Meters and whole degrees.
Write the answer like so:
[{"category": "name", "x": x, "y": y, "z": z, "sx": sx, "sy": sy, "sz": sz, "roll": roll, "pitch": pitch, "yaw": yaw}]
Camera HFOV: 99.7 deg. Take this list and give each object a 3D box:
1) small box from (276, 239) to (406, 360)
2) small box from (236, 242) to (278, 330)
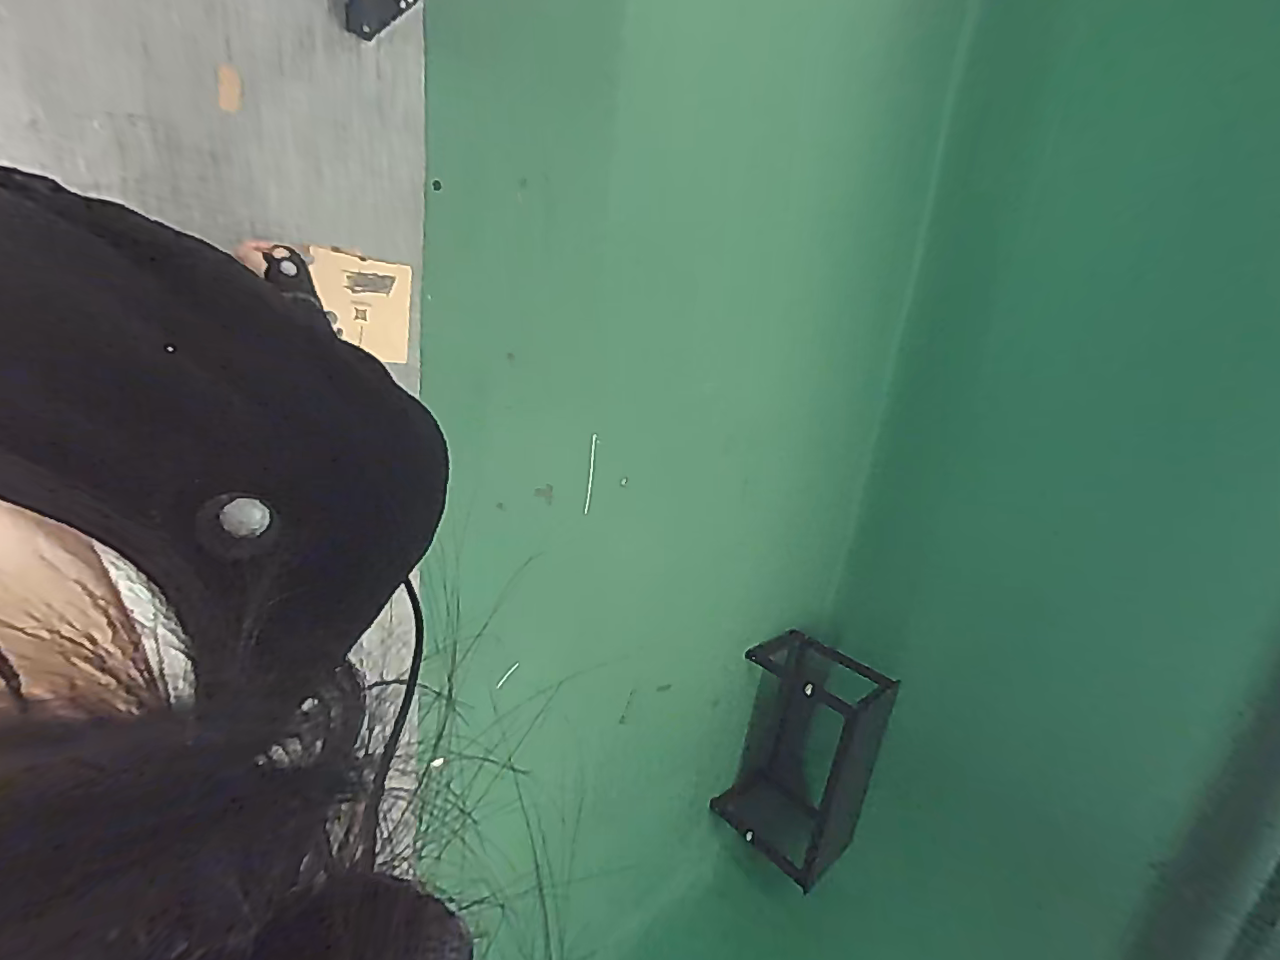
[{"category": "small box", "x": -0.544, "y": -0.325, "z": 0.979, "sx": 0.168, "sy": 0.176, "sz": 0.179, "roll": -5, "pitch": 111, "yaw": -46}, {"category": "small box", "x": -0.772, "y": -0.411, "z": 1.200, "sx": 0.179, "sy": 0.176, "sz": 0.168, "roll": 7, "pitch": 102, "yaw": -47}]
